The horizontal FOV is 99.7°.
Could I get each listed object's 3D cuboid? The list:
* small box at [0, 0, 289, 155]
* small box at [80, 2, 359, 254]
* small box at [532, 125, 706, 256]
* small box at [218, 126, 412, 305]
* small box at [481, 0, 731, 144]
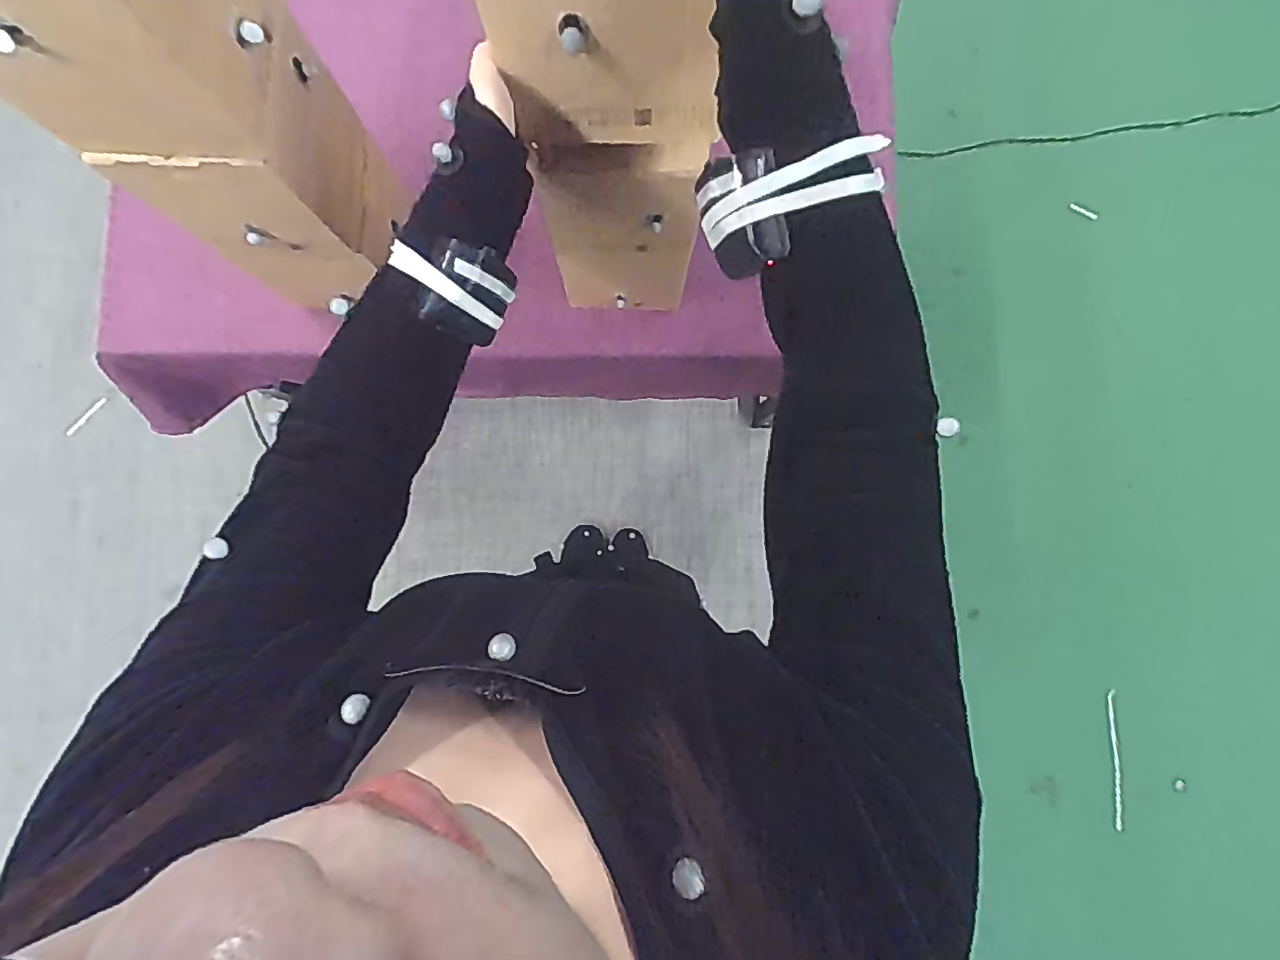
[{"bbox_3d":[-0.411,-0.380,0.410,0.179,0.176,0.168,2,86,-2],"label":"small box"},{"bbox_3d":[-0.422,-0.367,0.574,0.168,0.176,0.179,0,86,-1],"label":"small box"},{"bbox_3d":[-0.020,-0.363,0.586,0.168,0.176,0.179,1,86,-2],"label":"small box"},{"bbox_3d":[-0.427,-0.350,0.738,0.179,0.176,0.168,-1,85,-2],"label":"small box"},{"bbox_3d":[-0.017,-0.377,0.391,0.168,0.176,0.179,2,76,2],"label":"small box"}]
